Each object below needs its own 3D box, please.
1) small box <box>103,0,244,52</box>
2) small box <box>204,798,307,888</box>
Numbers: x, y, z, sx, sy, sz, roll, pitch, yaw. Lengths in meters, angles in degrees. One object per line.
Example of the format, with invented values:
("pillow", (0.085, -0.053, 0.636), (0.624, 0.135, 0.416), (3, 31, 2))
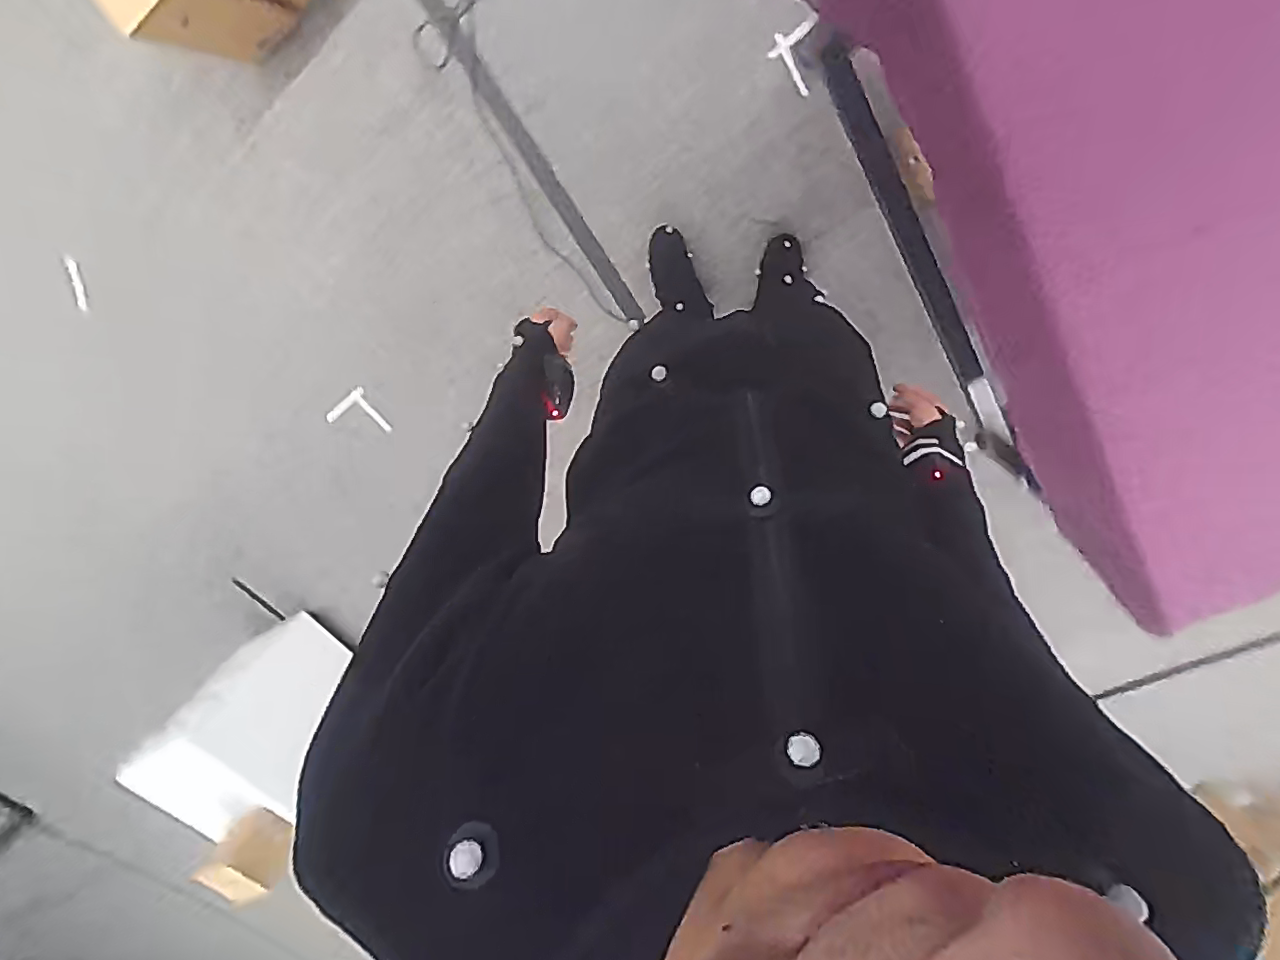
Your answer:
("small box", (-0.899, -0.955, 1.013), (0.179, 0.176, 0.168), (-24, 114, 20))
("small box", (-1.213, 1.153, 1.721), (0.179, 0.176, 0.168), (-29, 113, 20))
